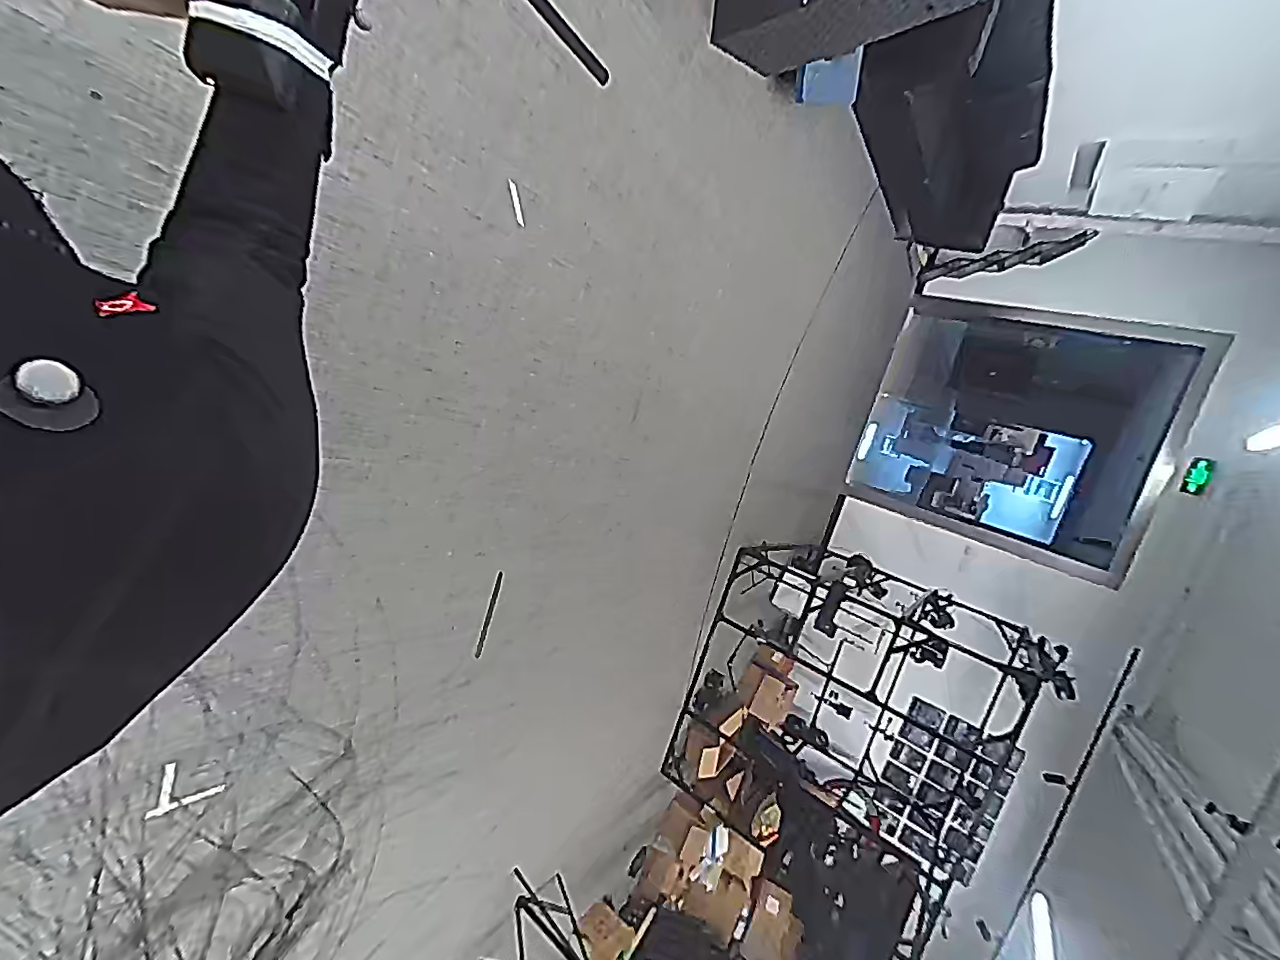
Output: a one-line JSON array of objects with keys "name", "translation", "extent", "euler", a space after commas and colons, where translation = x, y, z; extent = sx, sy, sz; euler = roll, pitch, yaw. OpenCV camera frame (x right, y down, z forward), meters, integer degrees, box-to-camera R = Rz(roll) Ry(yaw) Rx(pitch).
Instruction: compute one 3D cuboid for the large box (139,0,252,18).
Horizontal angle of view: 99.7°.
[{"name": "large box", "translation": [-0.429, -0.525, 0.241], "extent": [0.408, 0.320, 0.320], "euler": [3, 115, -60]}]
